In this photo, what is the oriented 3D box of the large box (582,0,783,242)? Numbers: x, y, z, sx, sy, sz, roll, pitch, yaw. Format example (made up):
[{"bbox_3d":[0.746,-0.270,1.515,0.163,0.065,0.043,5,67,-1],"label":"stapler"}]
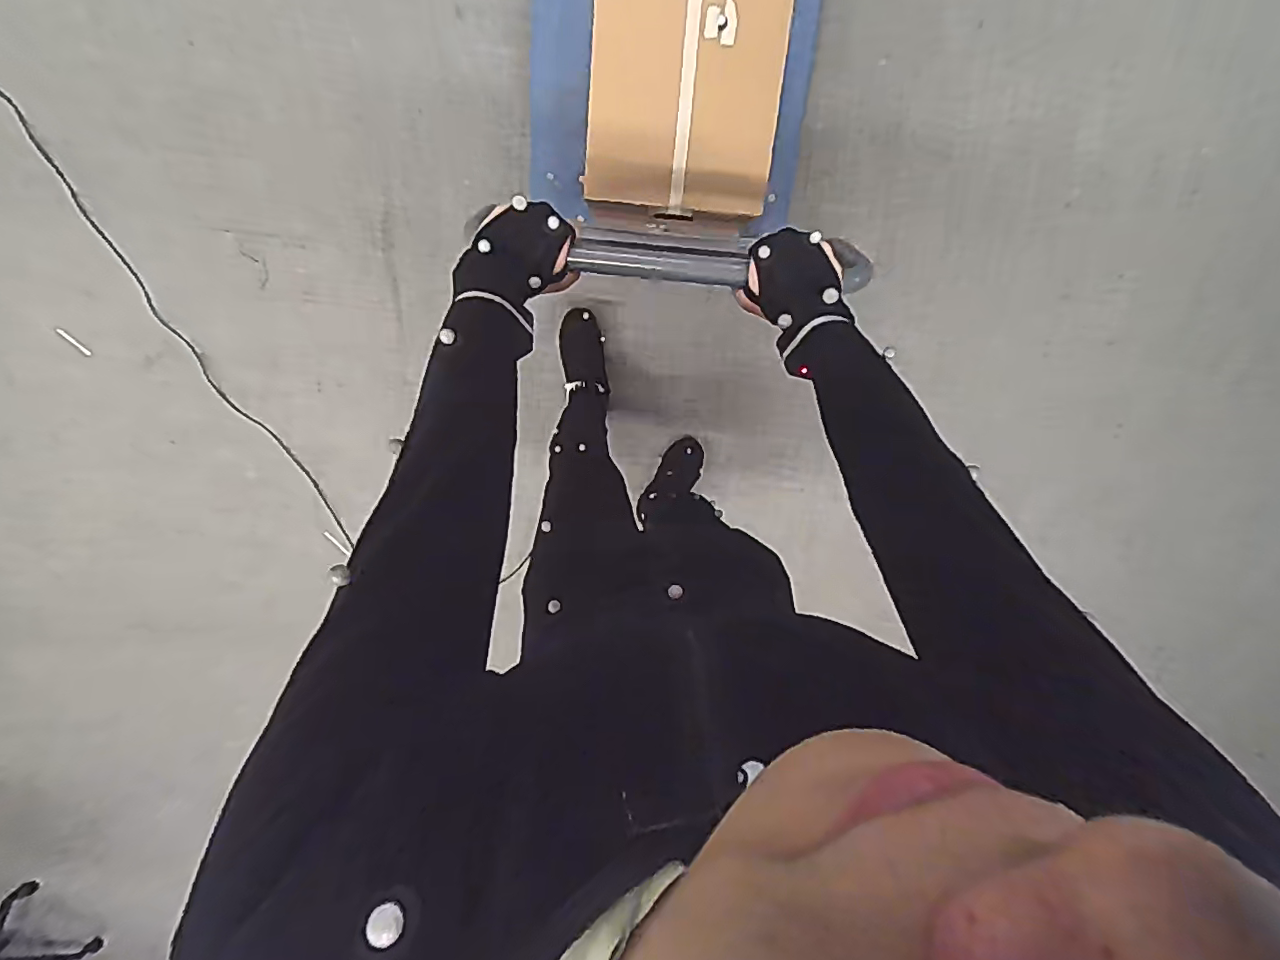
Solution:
[{"bbox_3d":[0.067,-0.697,1.032,0.320,0.320,0.408,4,106,-2],"label":"large box"}]
